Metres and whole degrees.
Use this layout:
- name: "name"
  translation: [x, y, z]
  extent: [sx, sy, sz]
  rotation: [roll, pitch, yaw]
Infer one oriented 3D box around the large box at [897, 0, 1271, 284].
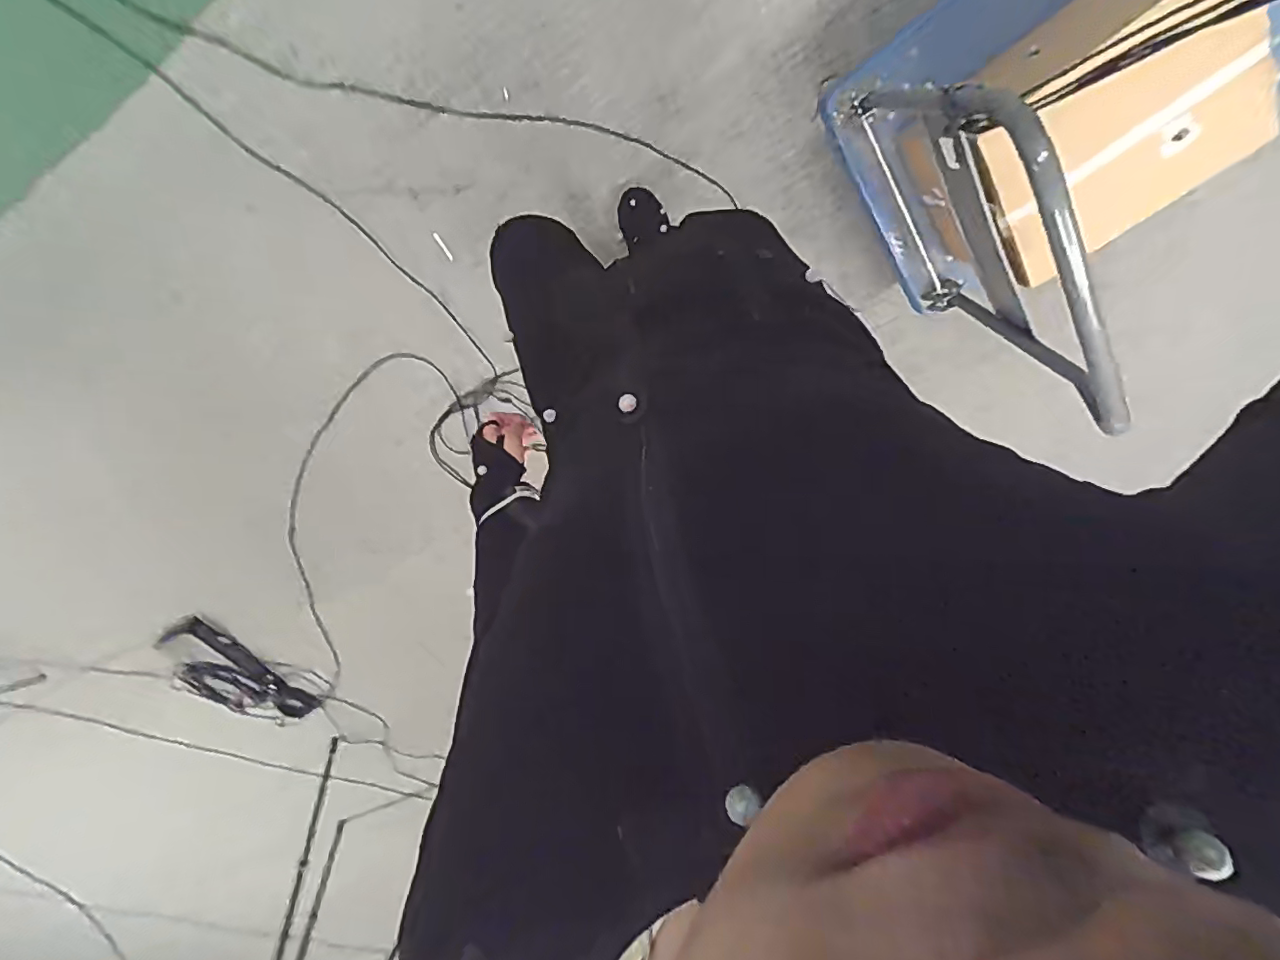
- name: "large box"
  translation: [0.783, -0.647, 1.008]
  extent: [0.408, 0.320, 0.320]
  rotation: [-34, 118, 18]
